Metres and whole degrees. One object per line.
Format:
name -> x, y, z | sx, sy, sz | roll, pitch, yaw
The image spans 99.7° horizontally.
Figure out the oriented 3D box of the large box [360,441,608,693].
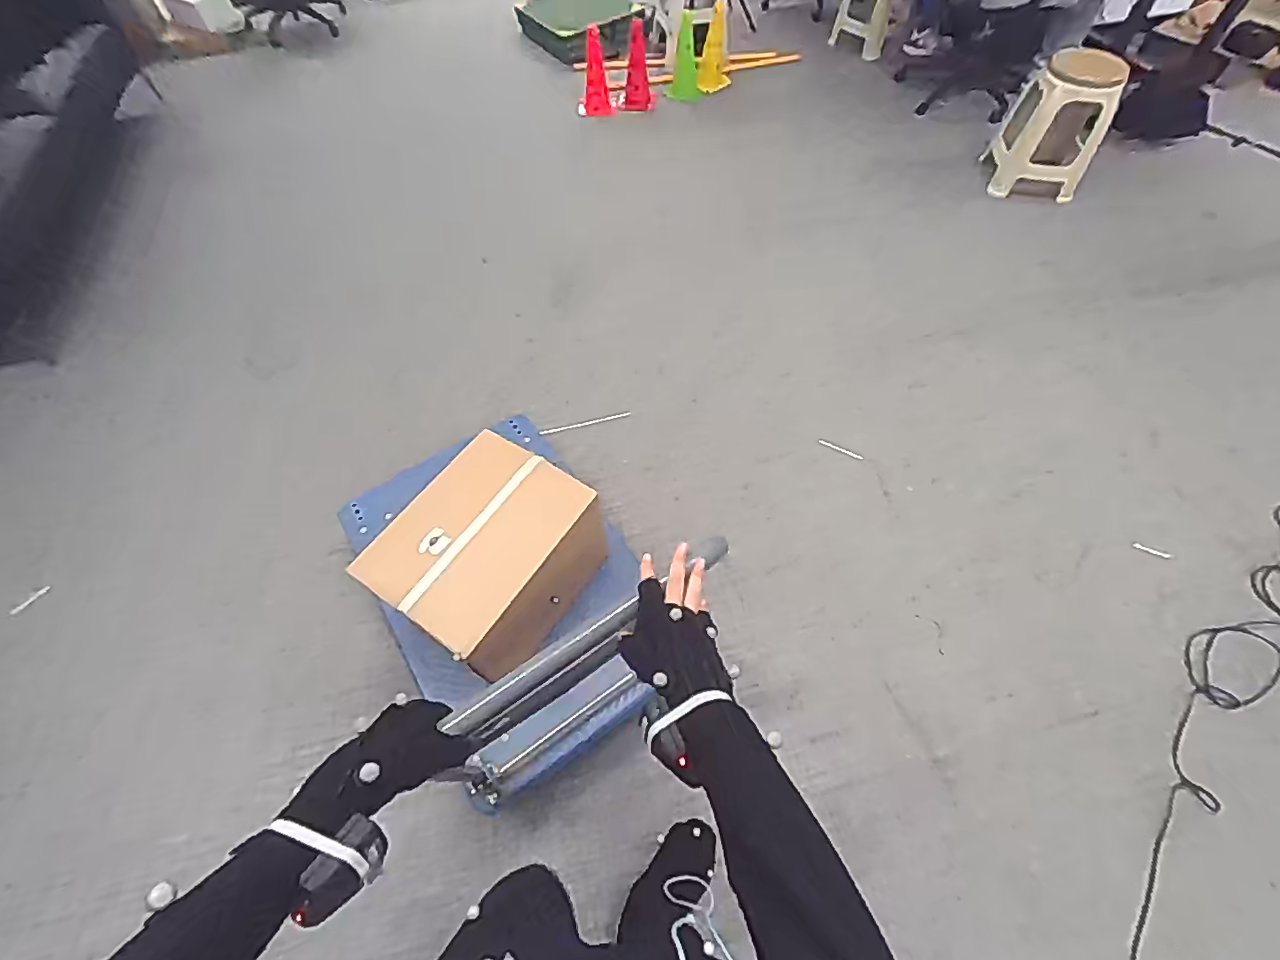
large box -> -0.310, 0.196, 1.212 | 0.320, 0.320, 0.408 | 27, 64, 18
